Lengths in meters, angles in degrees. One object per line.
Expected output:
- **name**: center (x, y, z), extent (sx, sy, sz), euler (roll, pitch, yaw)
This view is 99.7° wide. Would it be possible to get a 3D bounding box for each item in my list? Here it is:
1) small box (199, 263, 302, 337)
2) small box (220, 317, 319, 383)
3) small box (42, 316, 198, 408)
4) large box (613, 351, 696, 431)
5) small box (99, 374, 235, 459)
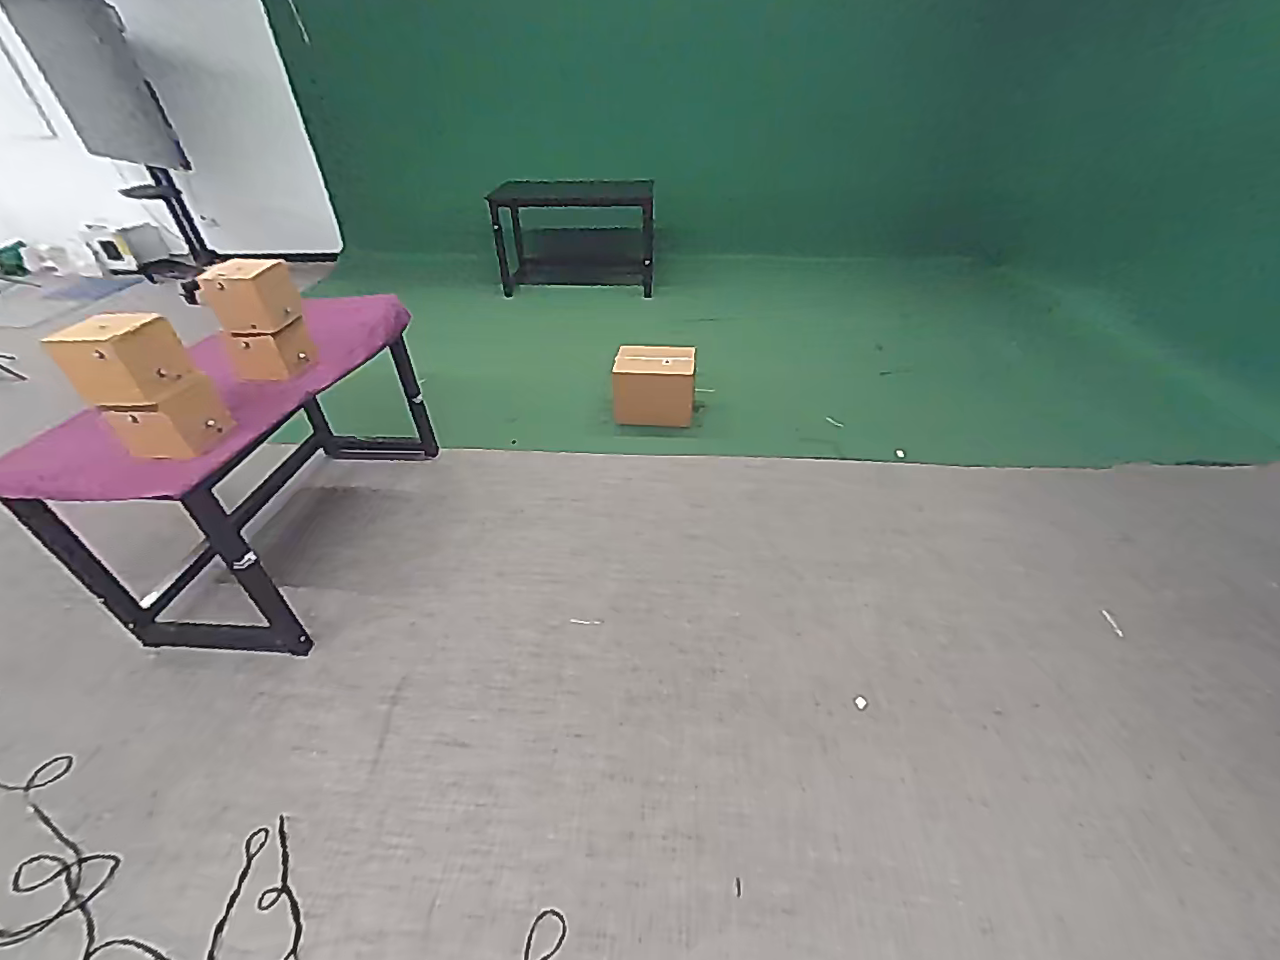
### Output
- **small box**: center (-1.175, -0.552, 1.654), extent (0.168, 0.176, 0.179), euler (1, 38, 3)
- **small box**: center (-1.198, -0.428, 1.763), extent (0.179, 0.176, 0.168), euler (3, 38, 6)
- **small box**: center (-1.242, -0.285, 1.308), extent (0.179, 0.176, 0.168), euler (0, 37, 5)
- **large box**: center (0.080, -0.472, 2.842), extent (0.408, 0.320, 0.320), euler (4, 38, 6)
- **small box**: center (-1.228, -0.165, 1.418), extent (0.179, 0.176, 0.168), euler (0, 38, 5)
